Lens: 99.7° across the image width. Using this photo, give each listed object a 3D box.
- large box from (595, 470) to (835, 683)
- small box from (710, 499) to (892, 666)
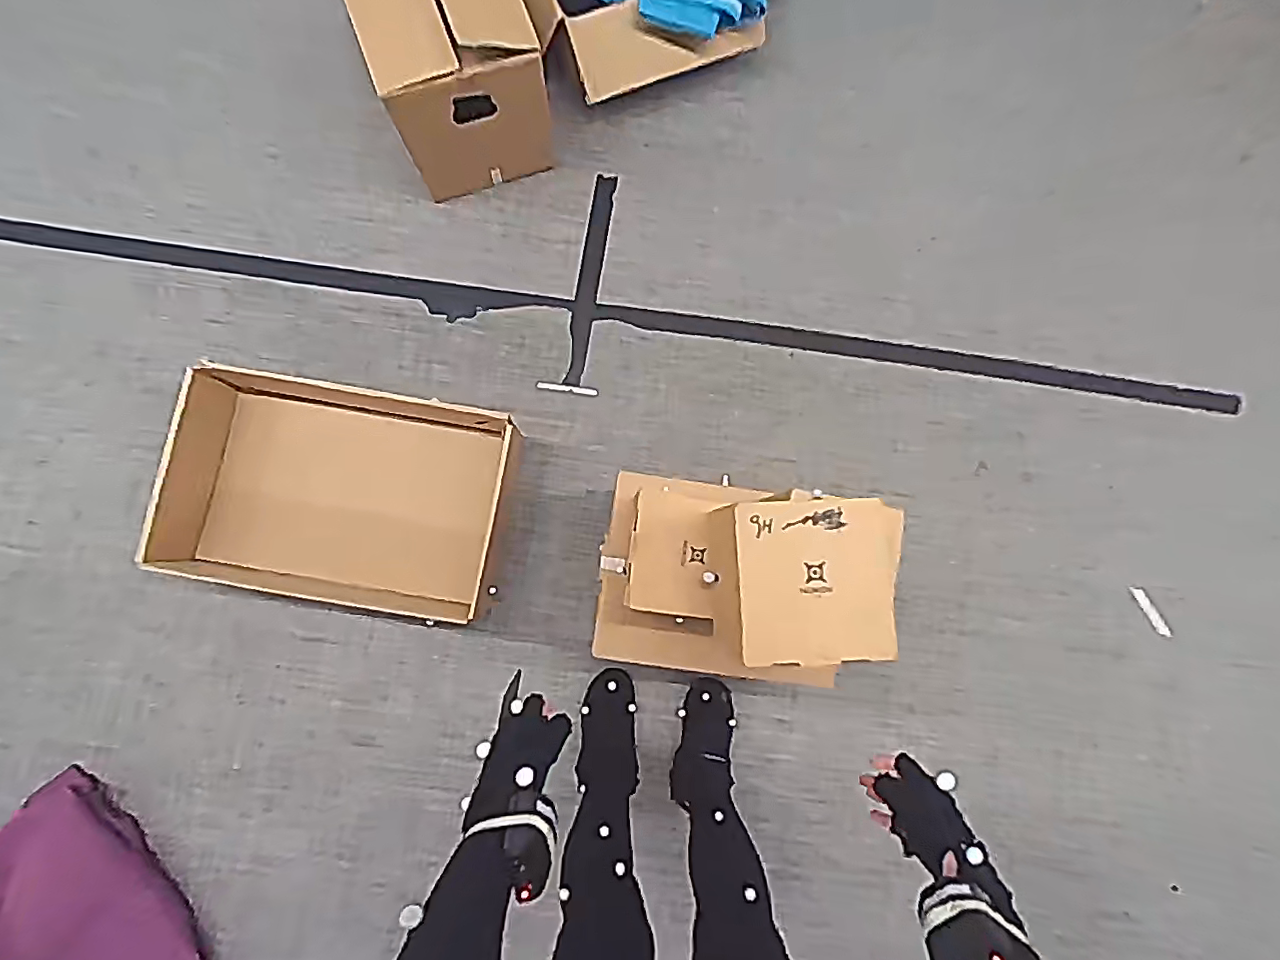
[{"bbox_3d":[0.129,0.184,1.047,0.408,0.320,0.320,9,80,-2],"label":"large box"},{"bbox_3d":[0.181,0.116,0.656,0.168,0.176,0.179,-2,83,-3],"label":"small box"}]
